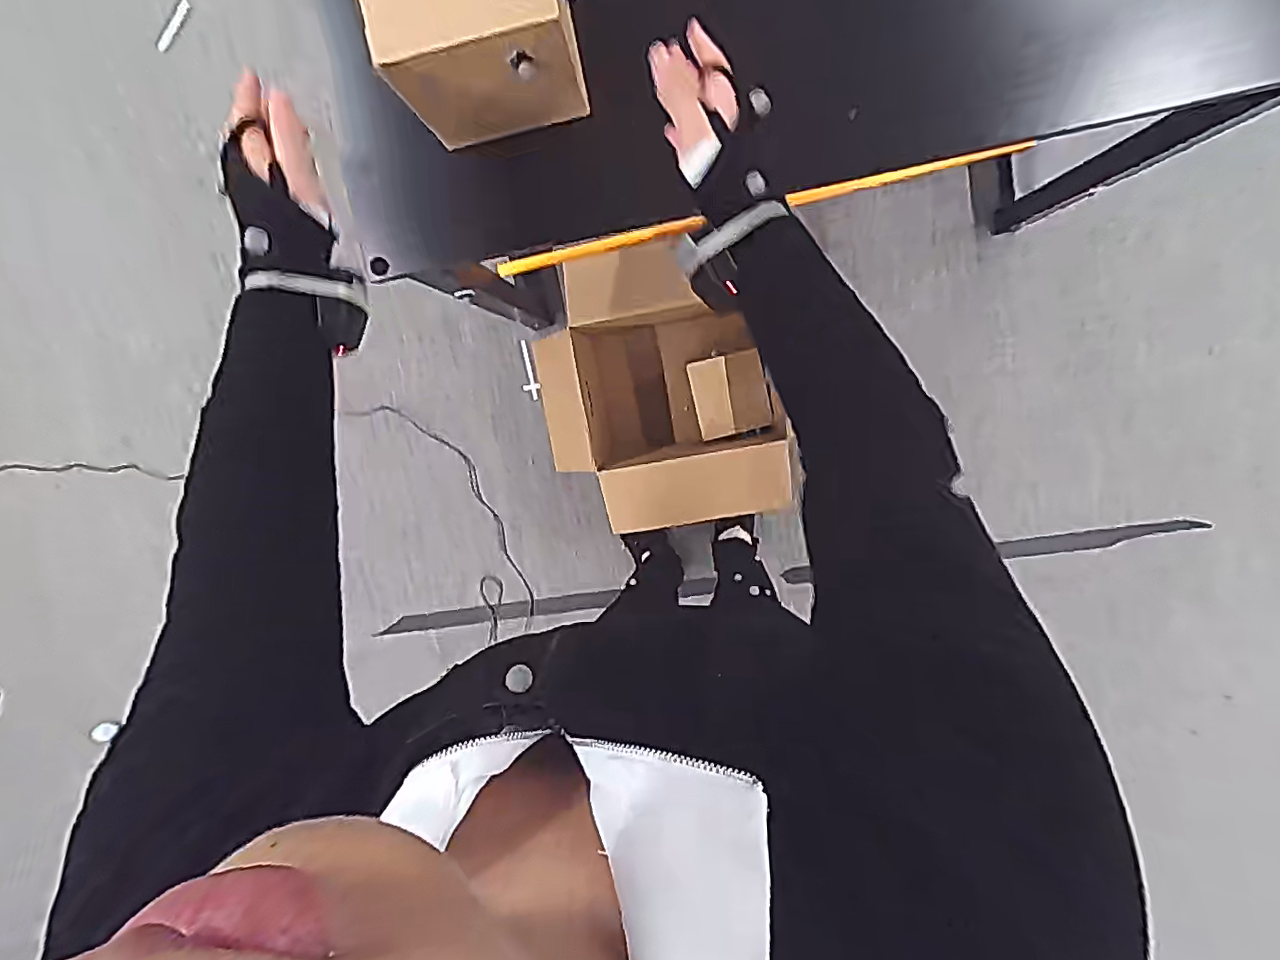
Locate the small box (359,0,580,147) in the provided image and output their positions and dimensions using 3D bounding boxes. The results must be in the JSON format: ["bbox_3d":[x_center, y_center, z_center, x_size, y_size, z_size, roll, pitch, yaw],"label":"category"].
[{"bbox_3d":[-0.164,-0.474,0.547,0.179,0.176,0.168,-10,98,5],"label":"small box"}]
